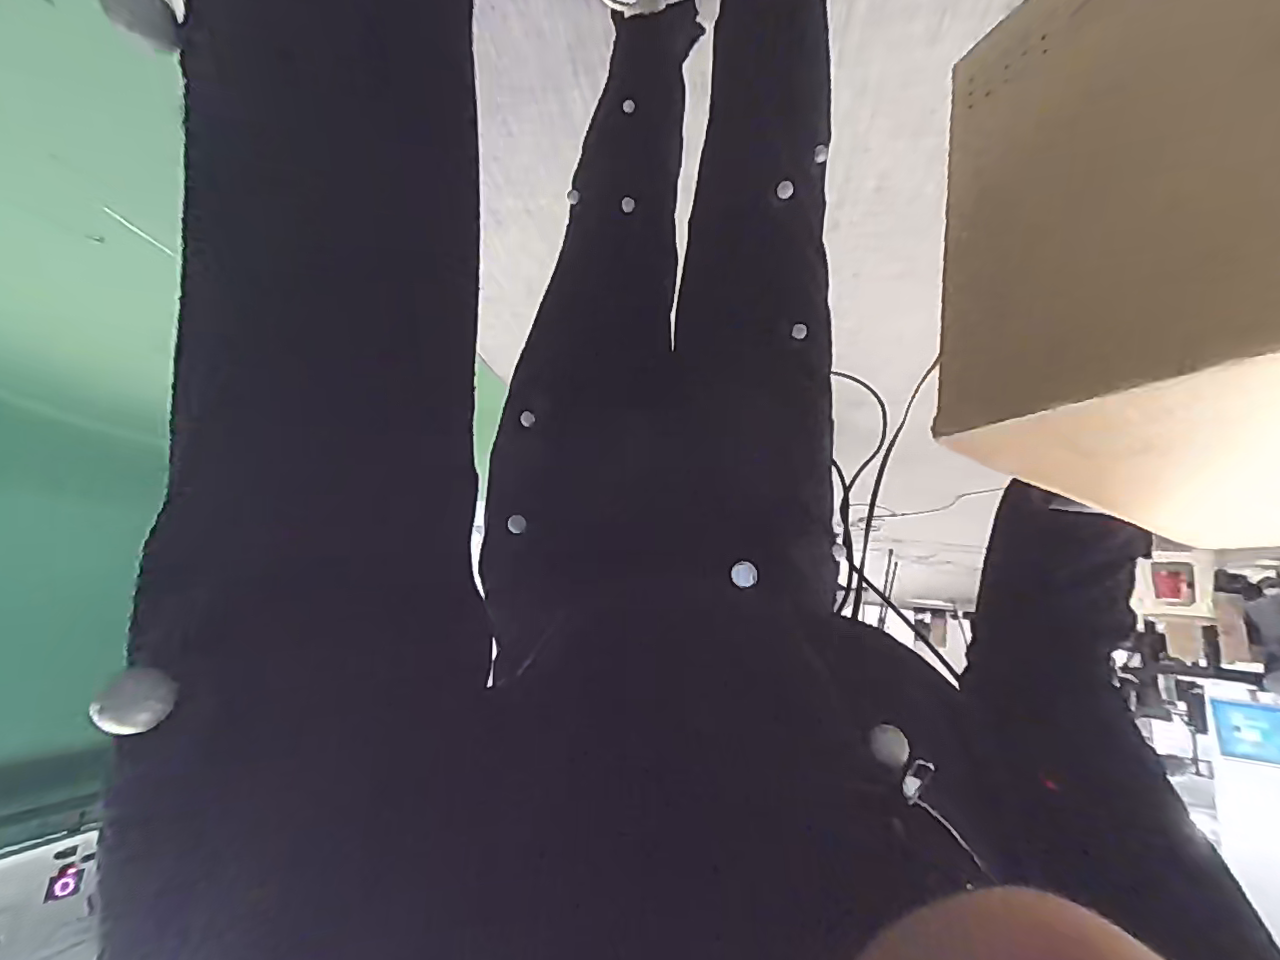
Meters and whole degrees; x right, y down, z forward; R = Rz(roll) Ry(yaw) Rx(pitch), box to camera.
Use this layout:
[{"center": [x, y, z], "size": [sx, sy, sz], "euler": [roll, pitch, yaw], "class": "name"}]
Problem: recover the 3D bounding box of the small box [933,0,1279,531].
[{"center": [0.217, -0.092, 0.162], "size": [0.179, 0.176, 0.168], "euler": [15, 164, -21], "class": "small box"}]
